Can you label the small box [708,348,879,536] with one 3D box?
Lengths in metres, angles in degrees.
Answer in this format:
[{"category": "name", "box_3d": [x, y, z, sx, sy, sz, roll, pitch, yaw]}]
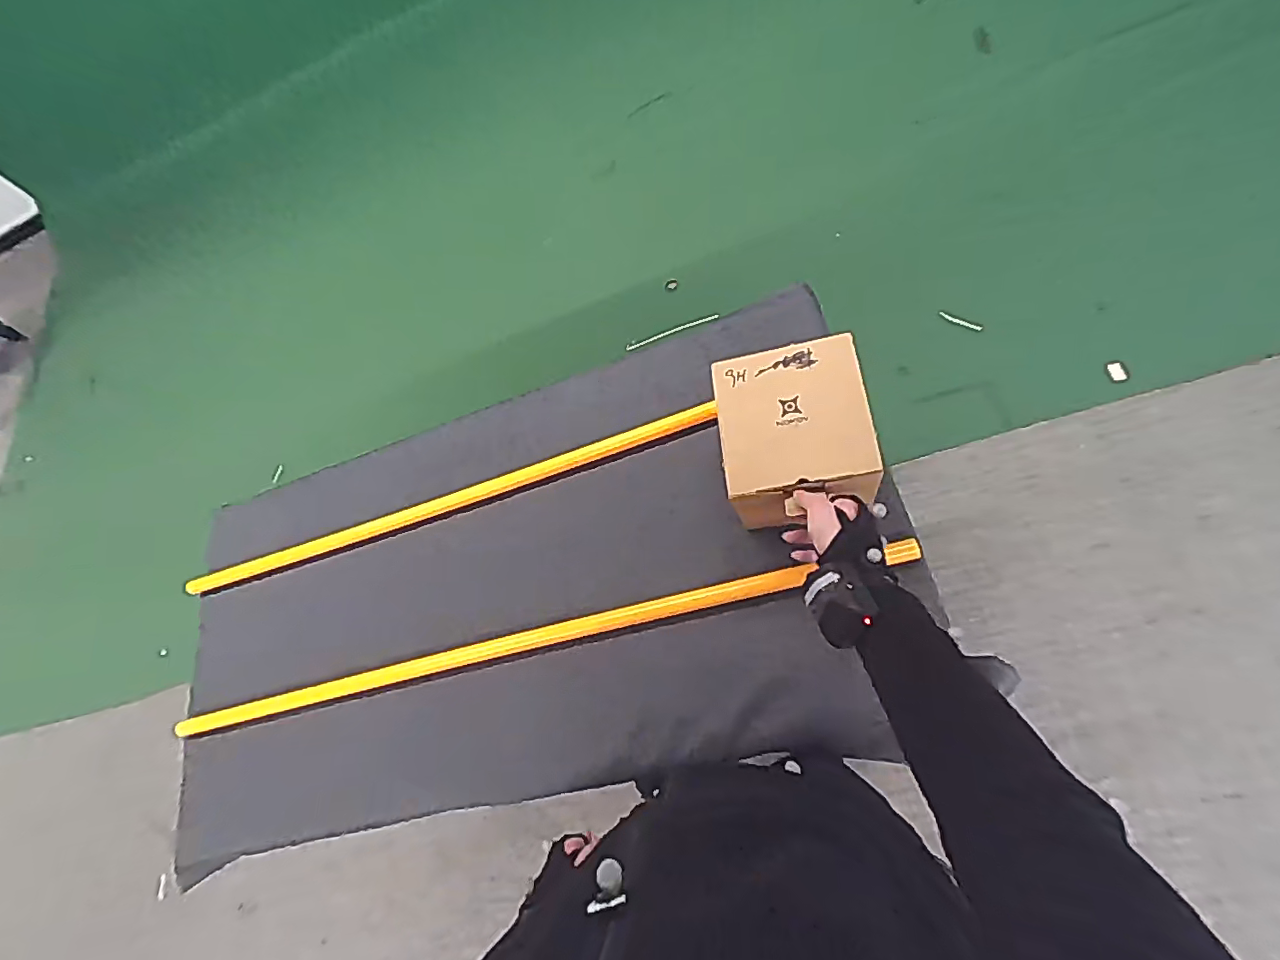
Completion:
[{"category": "small box", "box_3d": [0.197, -0.034, 0.693, 0.168, 0.176, 0.179, -14, 68, 16]}]
